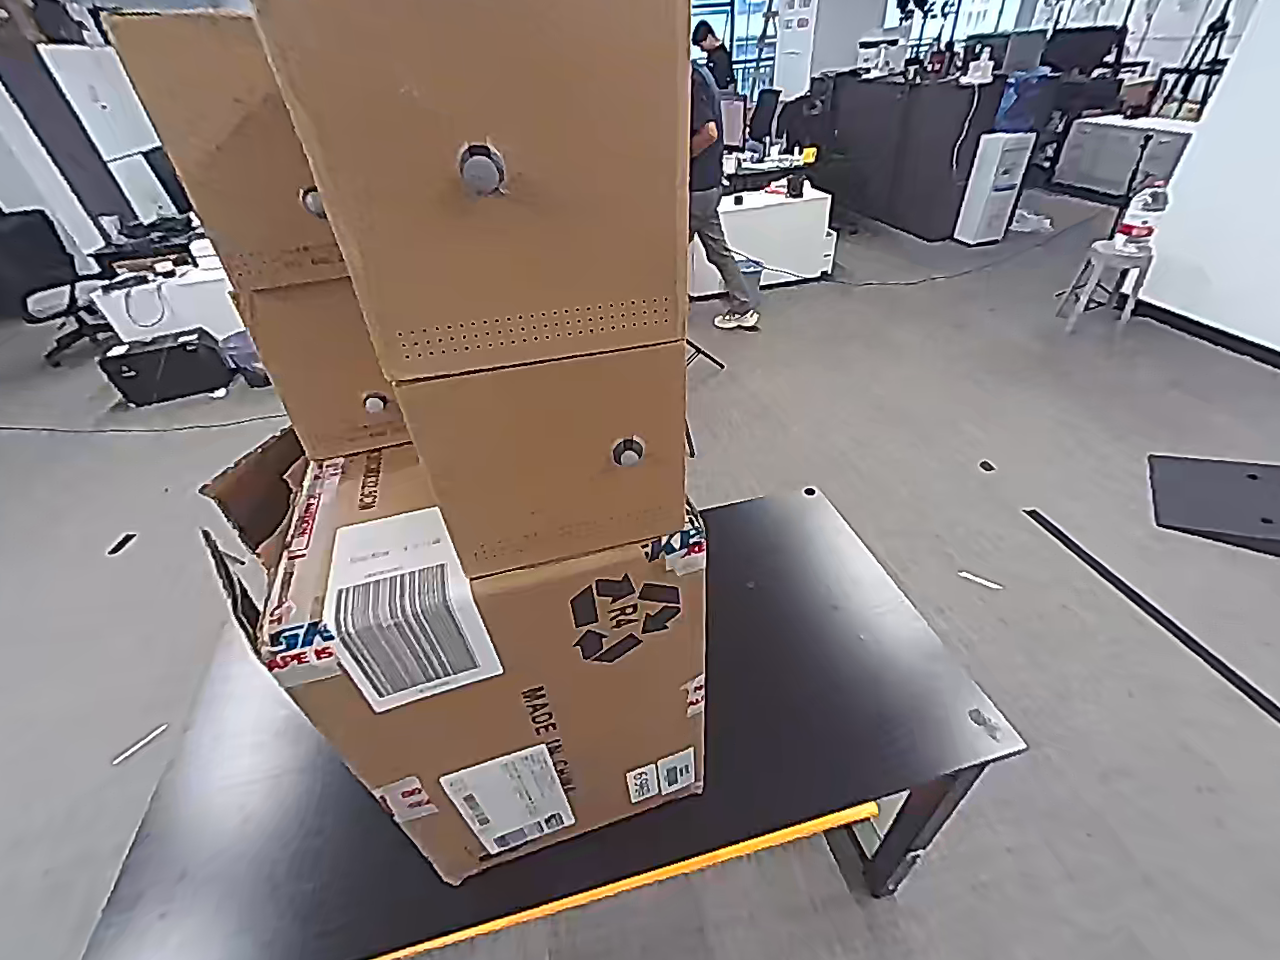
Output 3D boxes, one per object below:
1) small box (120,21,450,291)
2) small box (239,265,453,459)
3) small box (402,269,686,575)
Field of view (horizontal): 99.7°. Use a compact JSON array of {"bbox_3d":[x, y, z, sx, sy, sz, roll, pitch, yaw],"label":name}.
[{"bbox_3d":[-0.272,-0.275,0.466,0.168,0.176,0.179,-16,38,-15],"label":"small box"},{"bbox_3d":[-0.273,-0.146,0.569,0.168,0.176,0.179,-14,38,-13],"label":"small box"},{"bbox_3d":[-0.071,-0.050,0.436,0.179,0.176,0.168,-13,39,-10],"label":"small box"}]
